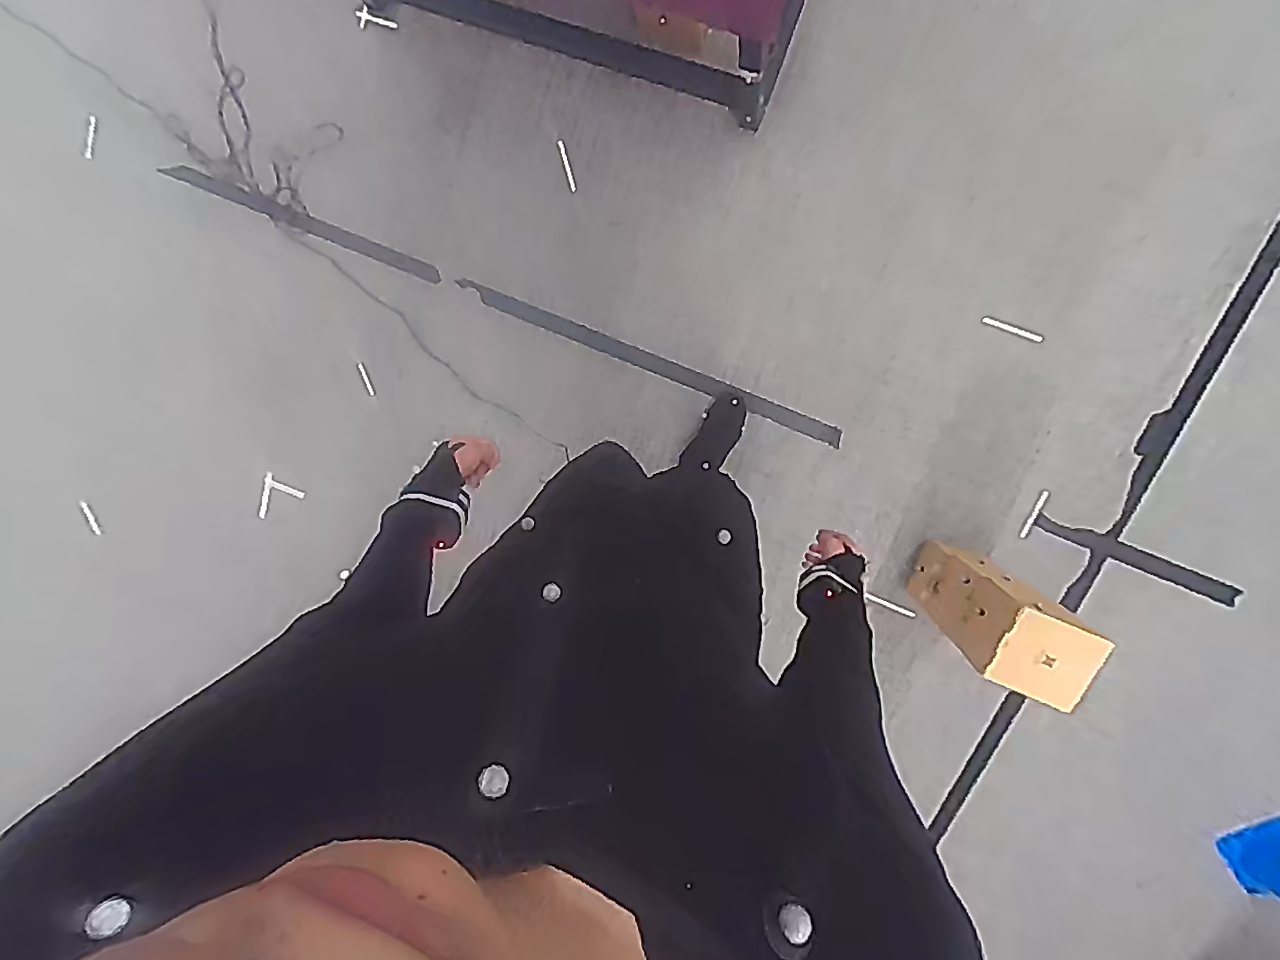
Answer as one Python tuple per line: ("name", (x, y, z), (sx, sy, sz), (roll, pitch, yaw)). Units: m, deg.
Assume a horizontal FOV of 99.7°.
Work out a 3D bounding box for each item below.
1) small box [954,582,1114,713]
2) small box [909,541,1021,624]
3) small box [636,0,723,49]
("small box", (0.796, 0.332, 1.114), (0.179, 0.176, 0.168), (23, 104, 7))
("small box", (0.850, 0.278, 1.433), (0.179, 0.176, 0.168), (19, 103, 8))
("small box", (0.106, -1.205, 1.323), (0.179, 0.176, 0.168), (23, 102, 7))
